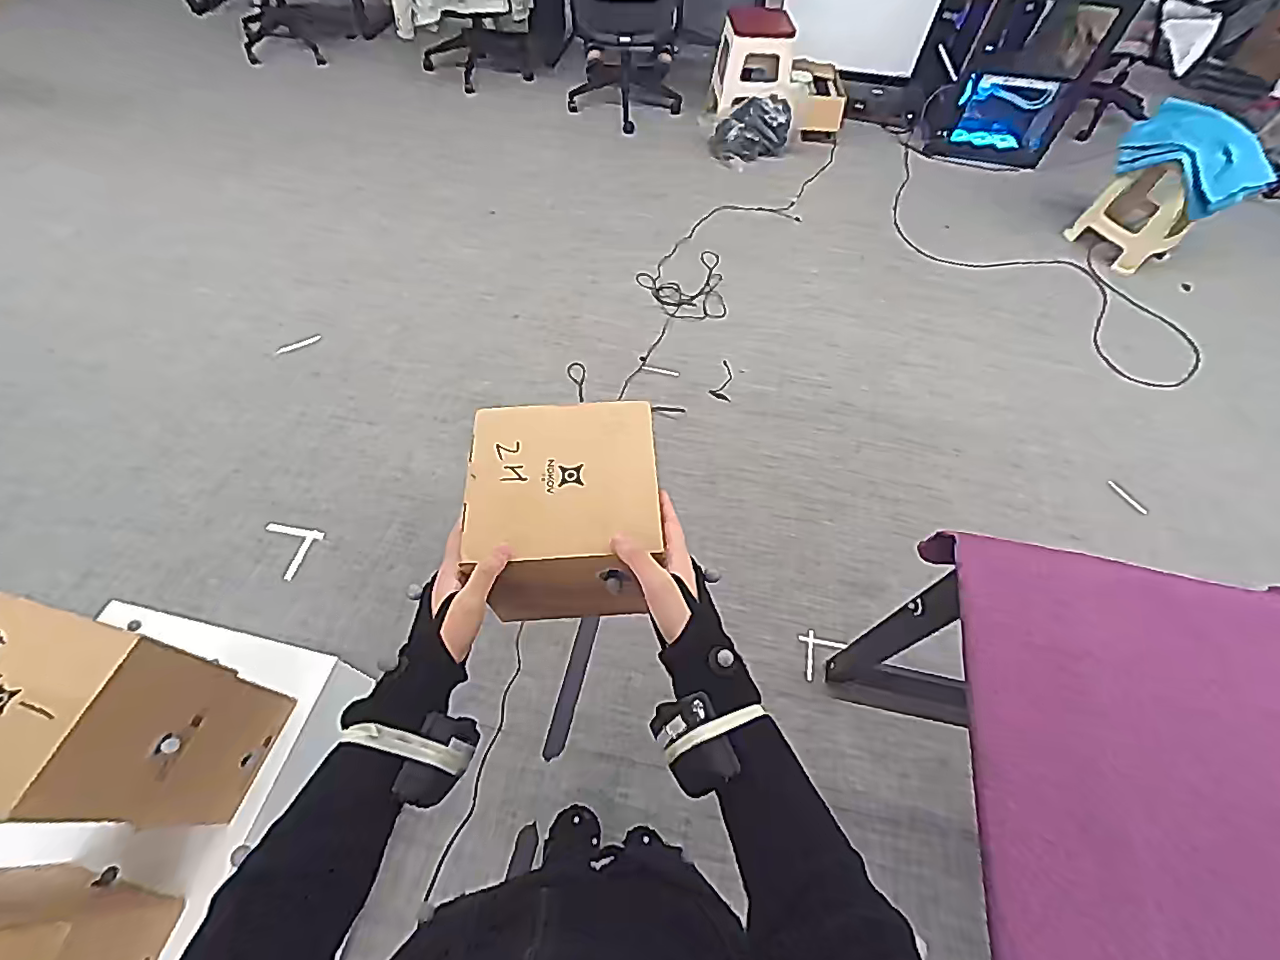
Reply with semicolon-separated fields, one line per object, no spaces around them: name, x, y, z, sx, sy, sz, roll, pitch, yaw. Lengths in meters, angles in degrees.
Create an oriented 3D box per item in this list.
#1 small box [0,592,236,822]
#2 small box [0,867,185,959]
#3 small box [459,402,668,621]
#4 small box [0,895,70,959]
small box;-0.589;0.241;0.563;0.179;0.176;0.168;14;59;5
small box;-0.659;0.531;0.572;0.179;0.176;0.168;12;59;6
small box;-0.067;0.038;0.557;0.179;0.176;0.168;-3;58;-1
small box;-0.652;0.444;0.435;0.179;0.176;0.168;11;58;5
